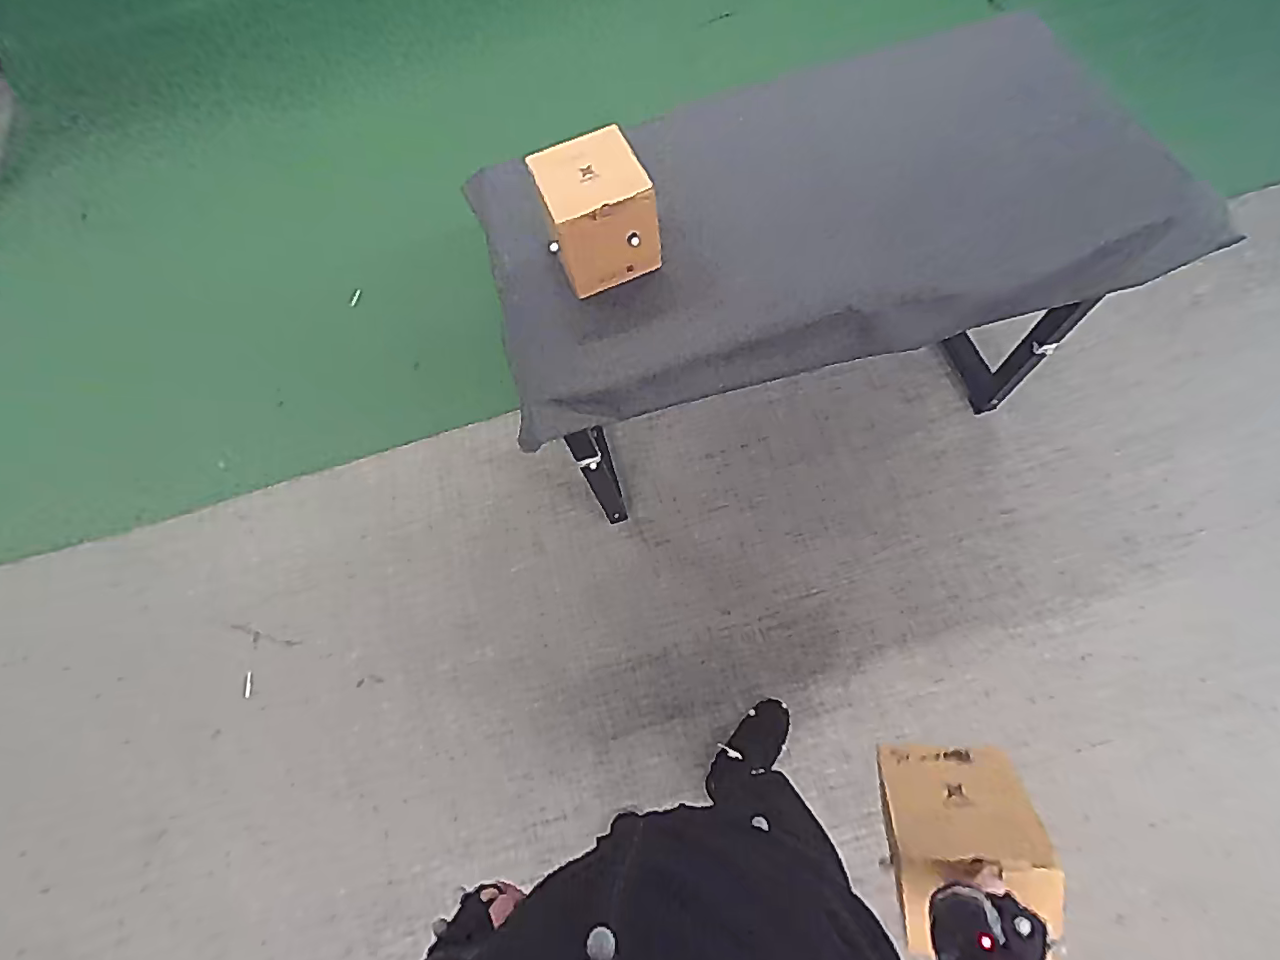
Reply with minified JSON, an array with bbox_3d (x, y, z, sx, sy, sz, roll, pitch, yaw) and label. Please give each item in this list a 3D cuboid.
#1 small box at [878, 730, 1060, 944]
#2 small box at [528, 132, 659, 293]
[{"bbox_3d":[0.422,0.461,0.714,0.168,0.179,0.176,-8,111,17],"label":"small box"},{"bbox_3d":[-0.074,-0.457,0.948,0.168,0.176,0.179,-23,66,-5],"label":"small box"}]
